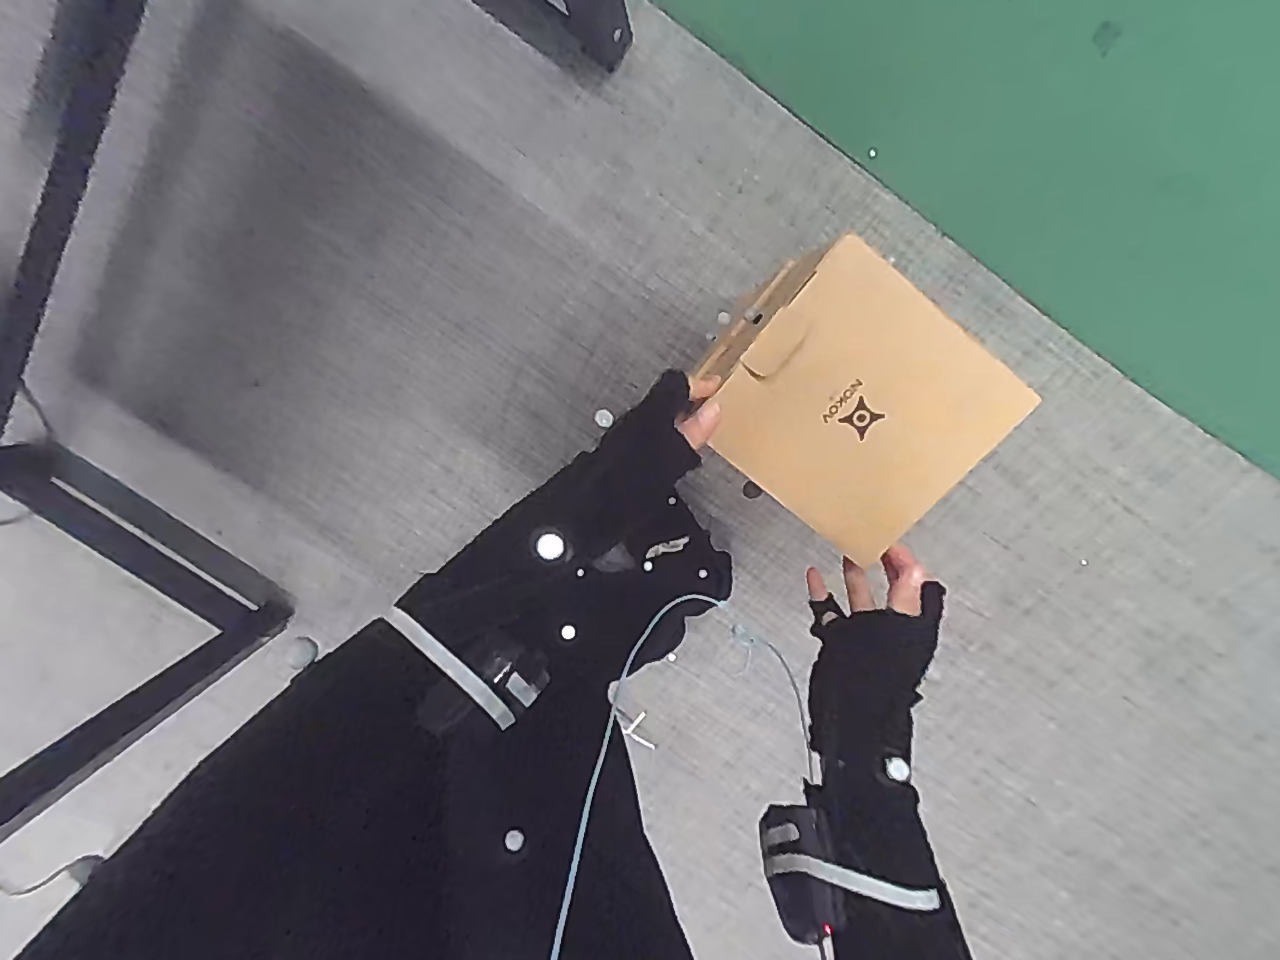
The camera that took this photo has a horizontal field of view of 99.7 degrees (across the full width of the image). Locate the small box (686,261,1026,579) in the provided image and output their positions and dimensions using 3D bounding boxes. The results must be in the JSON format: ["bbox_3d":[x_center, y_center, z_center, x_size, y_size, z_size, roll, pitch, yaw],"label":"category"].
[{"bbox_3d":[0.158,-0.057,0.459,0.179,0.176,0.168,39,106,-5],"label":"small box"}]

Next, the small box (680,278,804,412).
[{"bbox_3d":[0.166,-0.103,0.615,0.179,0.176,0.168,40,106,-5],"label":"small box"}]
